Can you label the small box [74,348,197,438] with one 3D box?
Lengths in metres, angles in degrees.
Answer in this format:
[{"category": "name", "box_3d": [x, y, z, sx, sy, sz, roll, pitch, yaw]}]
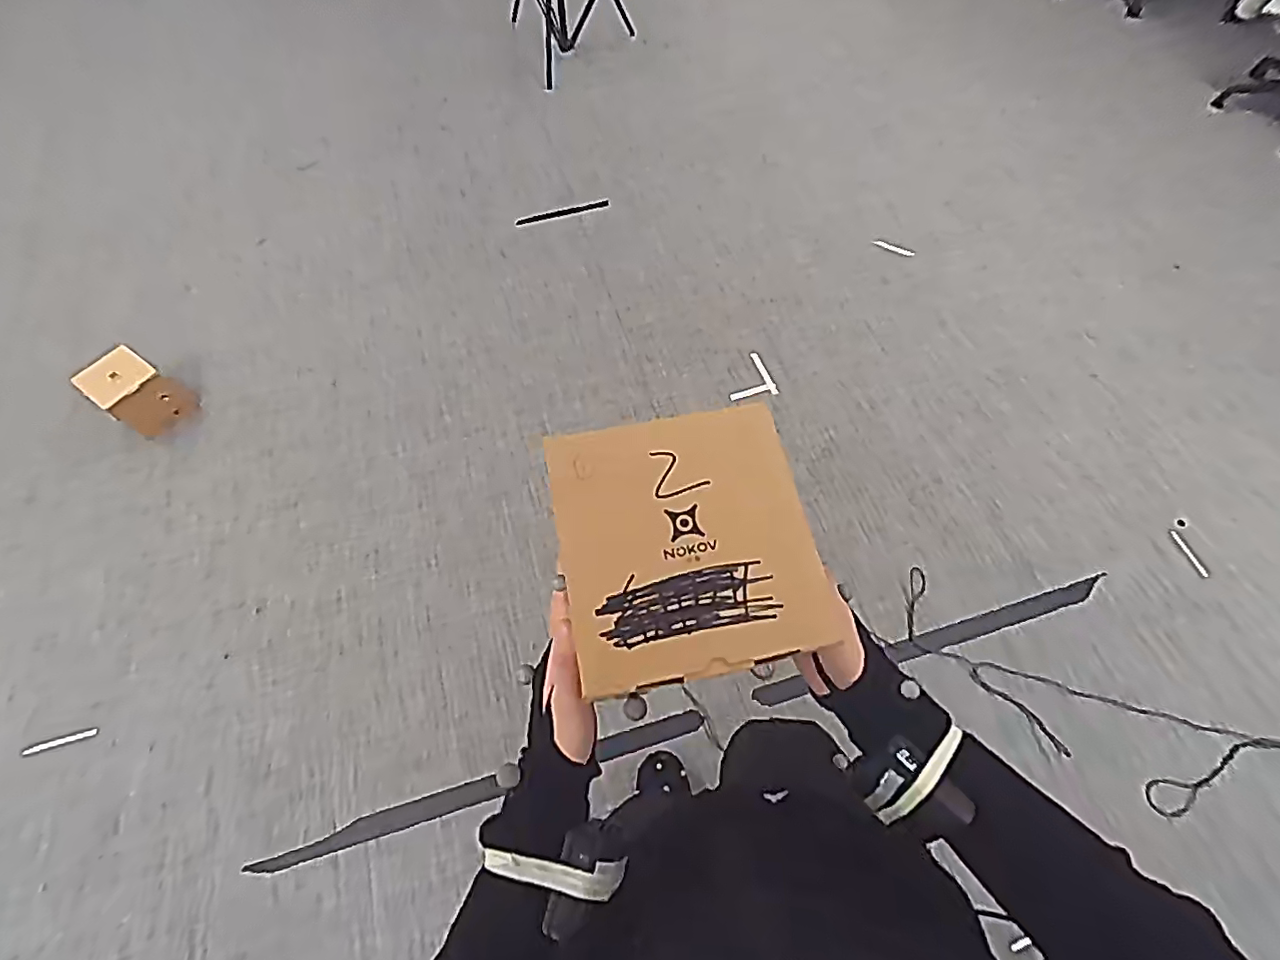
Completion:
[{"category": "small box", "box_3d": [-1.485, -0.250, 1.606, 0.179, 0.176, 0.168, 32, 67, 15]}]
